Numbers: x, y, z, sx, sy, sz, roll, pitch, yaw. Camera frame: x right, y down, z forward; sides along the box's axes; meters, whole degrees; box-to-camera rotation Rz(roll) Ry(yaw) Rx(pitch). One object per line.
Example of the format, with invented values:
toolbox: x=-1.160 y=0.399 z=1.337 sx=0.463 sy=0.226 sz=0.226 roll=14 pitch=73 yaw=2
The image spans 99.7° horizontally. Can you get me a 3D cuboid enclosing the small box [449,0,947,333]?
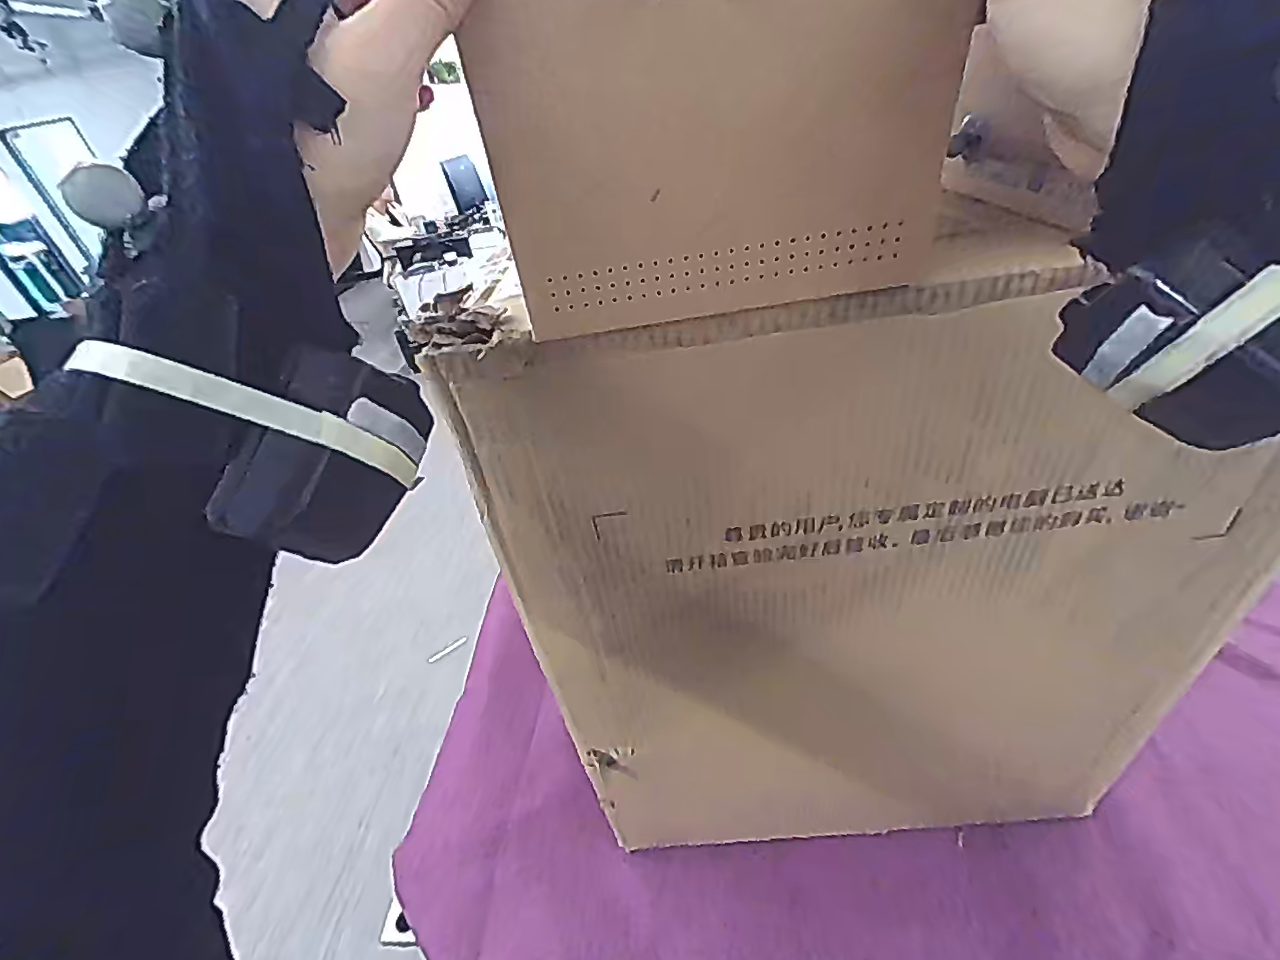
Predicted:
small box: x=0.021 y=-0.186 z=0.252 sx=0.179 sy=0.176 sz=0.168 roll=-11 pitch=41 yaw=1
